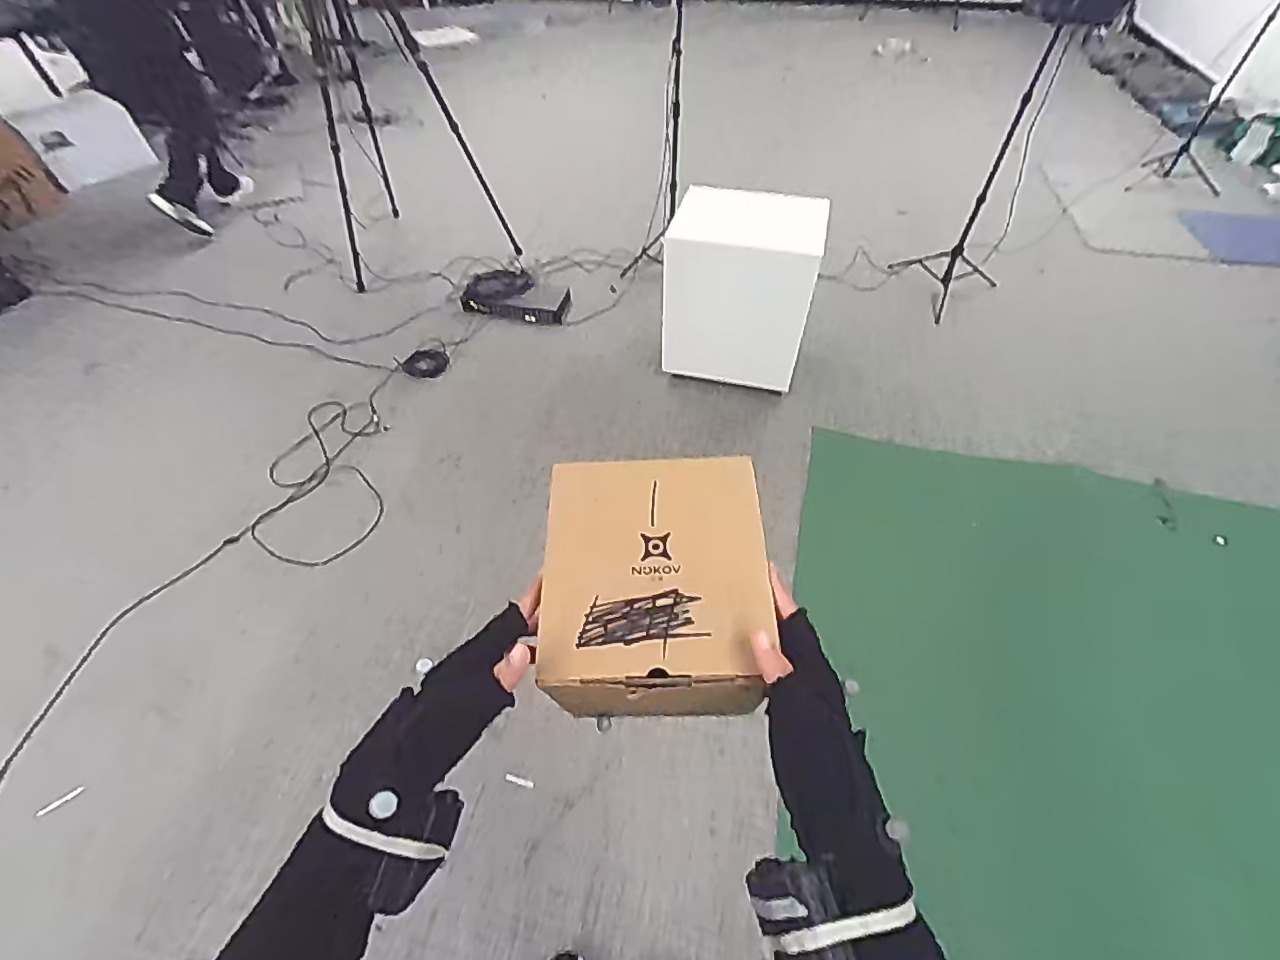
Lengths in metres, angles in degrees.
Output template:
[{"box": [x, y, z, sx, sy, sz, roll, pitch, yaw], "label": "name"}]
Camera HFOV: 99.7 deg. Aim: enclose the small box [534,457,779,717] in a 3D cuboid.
[{"box": [0.016, 0.100, 0.464, 0.168, 0.176, 0.179, -2, 57, 2], "label": "small box"}]
